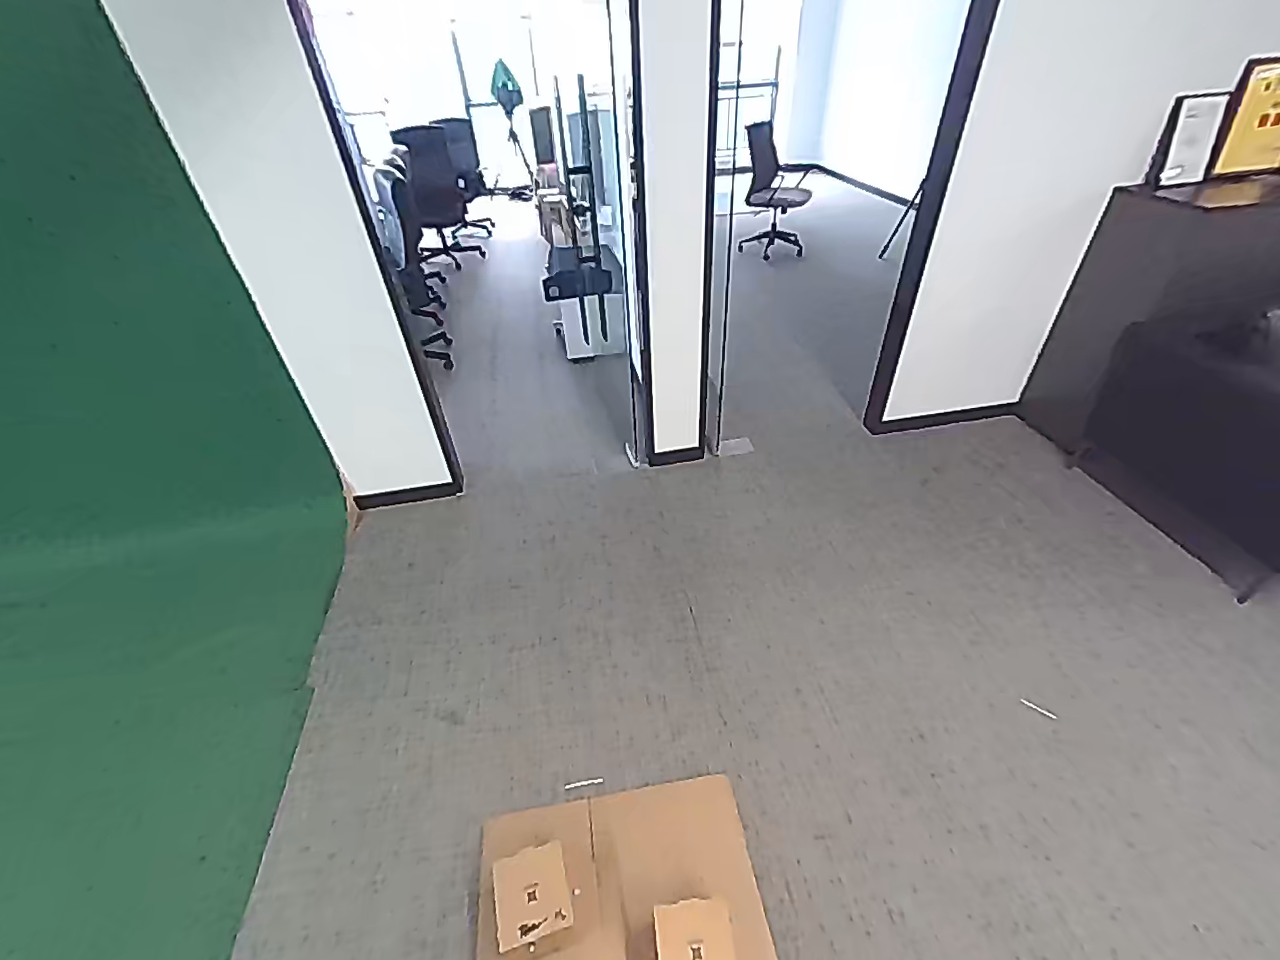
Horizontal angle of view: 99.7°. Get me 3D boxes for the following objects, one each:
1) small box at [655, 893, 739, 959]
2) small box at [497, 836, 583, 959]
[{"bbox_3d":[0.127,1.042,1.182,0.168,0.176,0.179,-6,38,-2],"label":"small box"},{"bbox_3d":[-0.236,0.989,1.276,0.168,0.176,0.179,-13,40,-12],"label":"small box"}]
